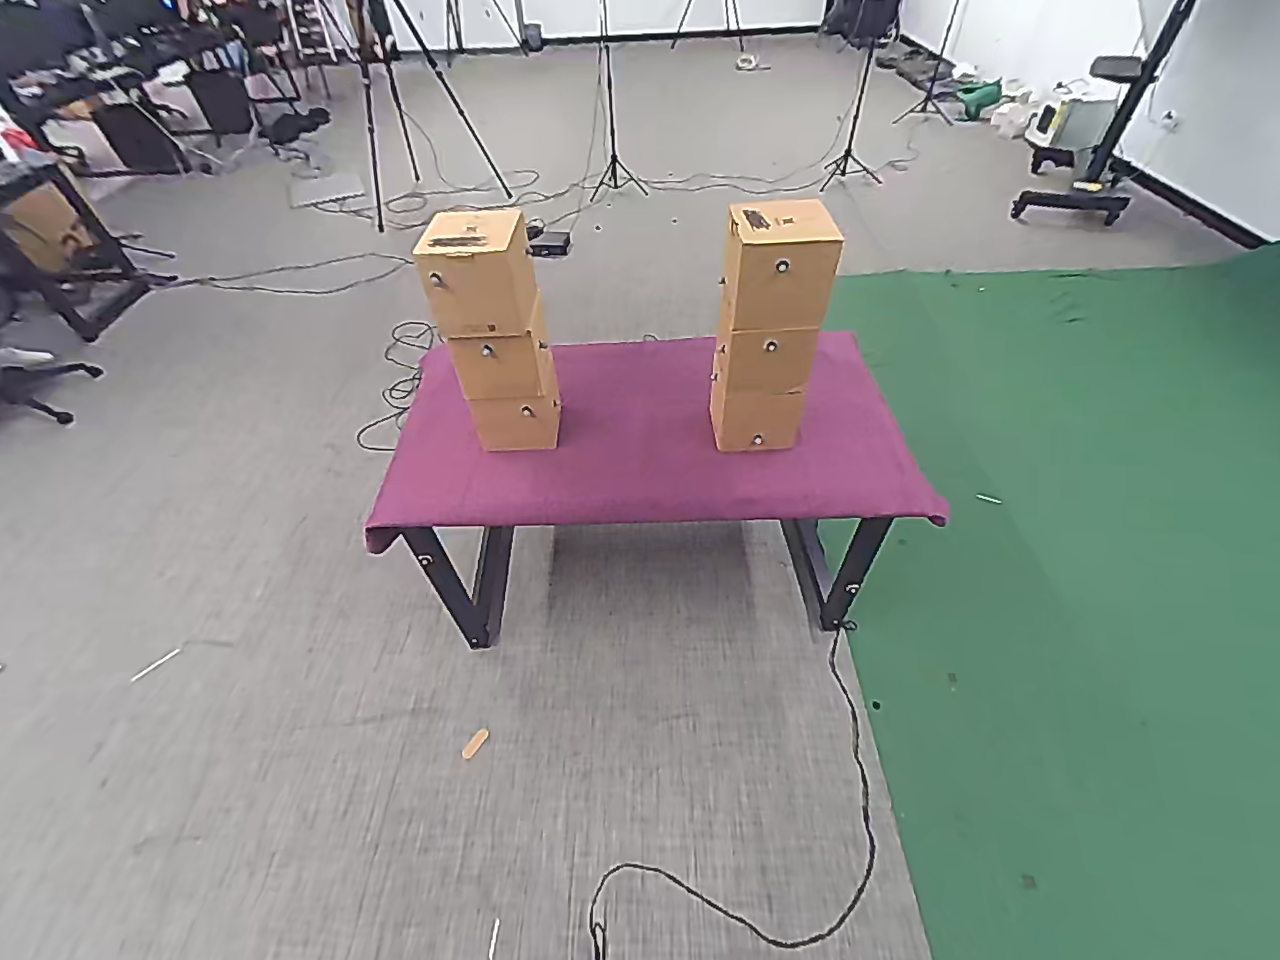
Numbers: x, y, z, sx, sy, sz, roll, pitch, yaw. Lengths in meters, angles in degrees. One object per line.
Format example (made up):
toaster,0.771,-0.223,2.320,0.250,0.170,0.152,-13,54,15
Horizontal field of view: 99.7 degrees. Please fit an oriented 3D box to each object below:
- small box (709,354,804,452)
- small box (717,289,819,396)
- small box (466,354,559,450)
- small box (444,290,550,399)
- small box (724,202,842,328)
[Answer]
small box,0.263,-0.181,1.262,0.179,0.176,0.168,-3,48,0
small box,0.258,-0.291,1.141,0.179,0.176,0.168,-2,49,1
small box,-0.292,-0.183,1.287,0.179,0.176,0.168,-1,48,0
small box,-0.296,-0.289,1.164,0.179,0.176,0.168,-2,49,1
small box,0.256,-0.402,1.020,0.179,0.176,0.168,-3,49,0
